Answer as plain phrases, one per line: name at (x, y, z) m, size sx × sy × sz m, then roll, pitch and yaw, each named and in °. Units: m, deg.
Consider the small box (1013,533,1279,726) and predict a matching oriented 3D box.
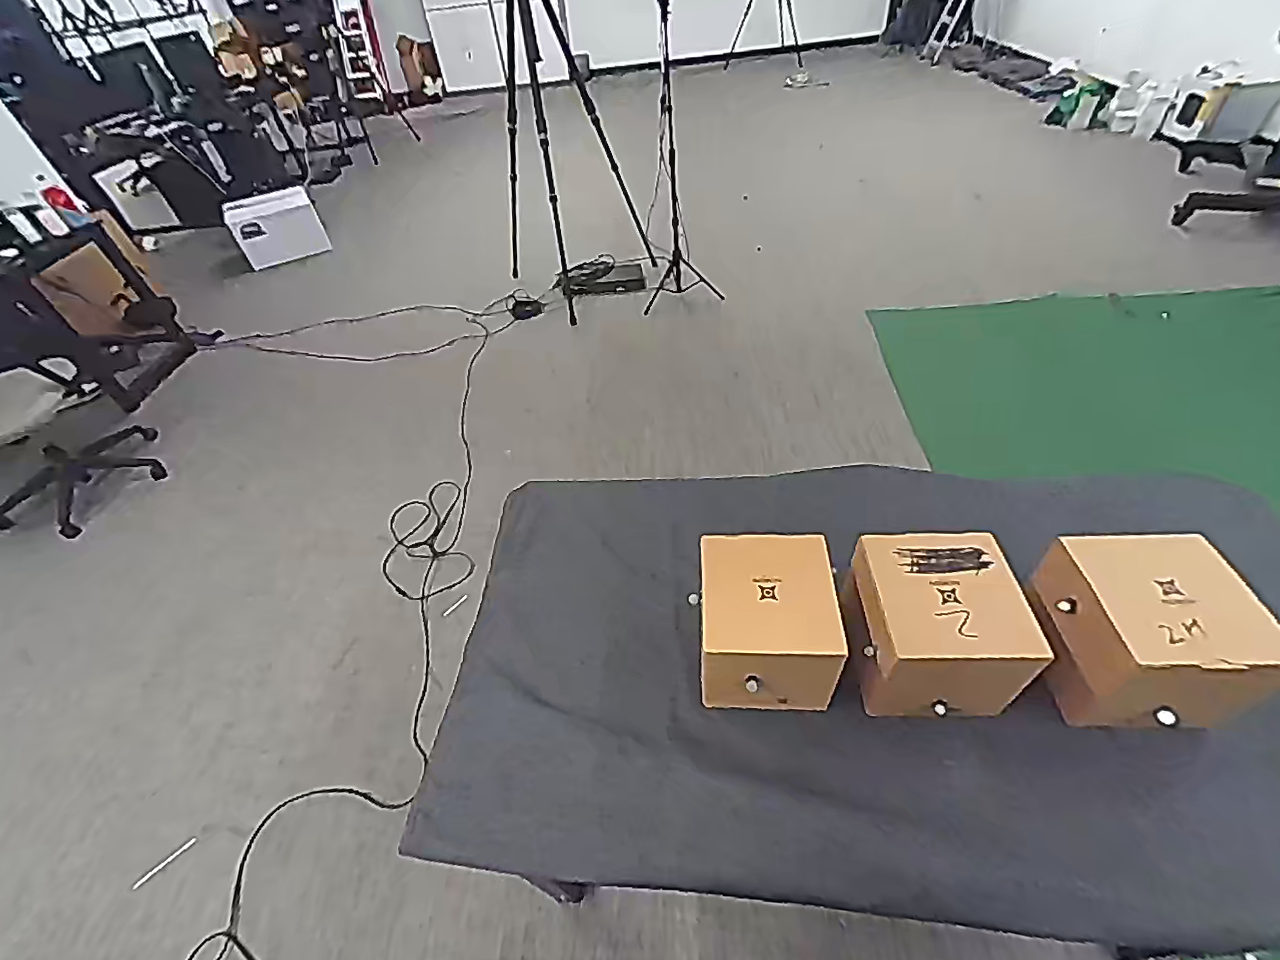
small box at (0.612, 0.185, 0.678) m, size 0.168 × 0.176 × 0.179 m, roll -2°, pitch 46°, yaw 7°
